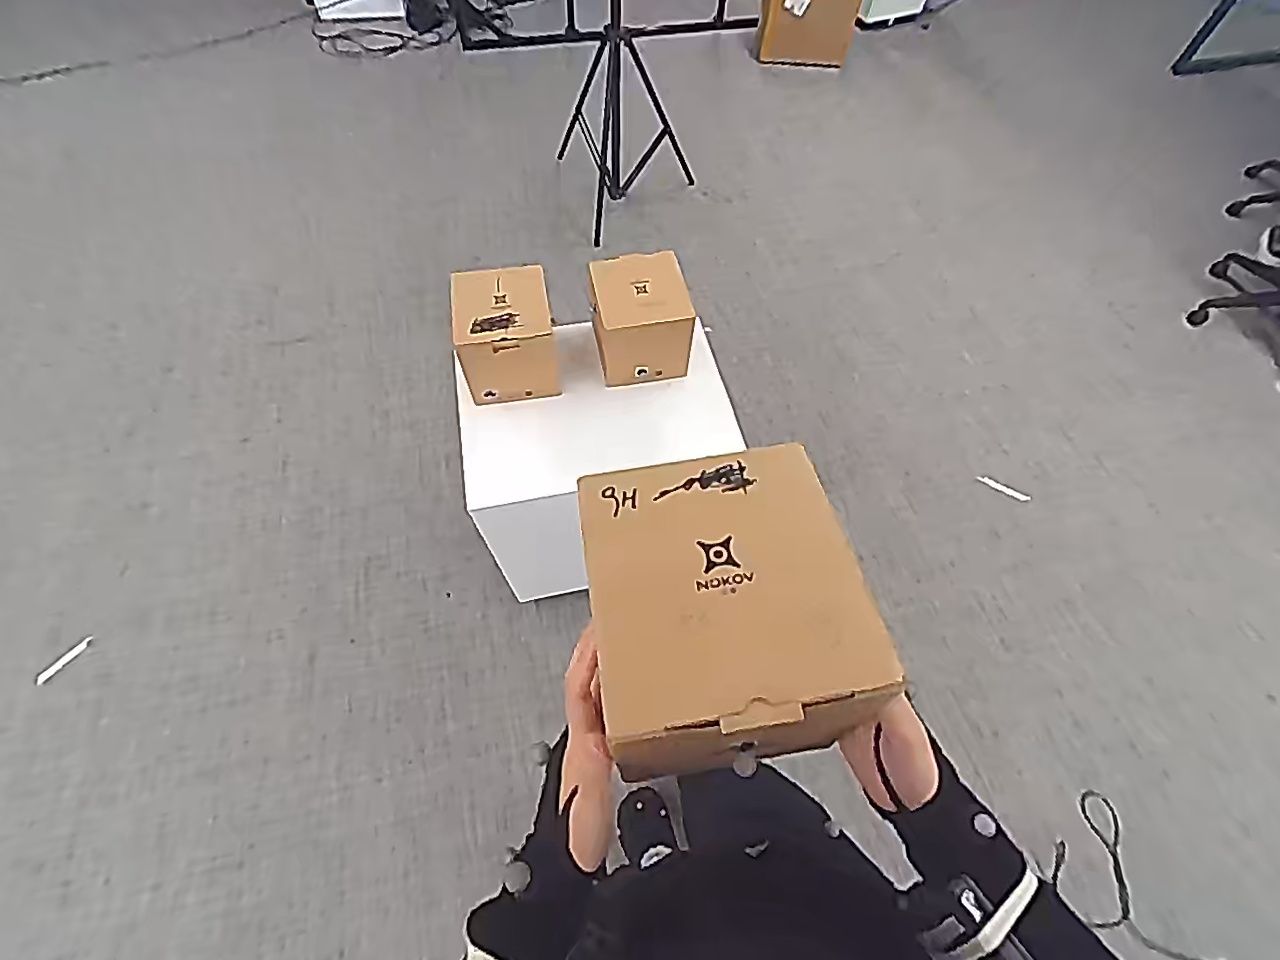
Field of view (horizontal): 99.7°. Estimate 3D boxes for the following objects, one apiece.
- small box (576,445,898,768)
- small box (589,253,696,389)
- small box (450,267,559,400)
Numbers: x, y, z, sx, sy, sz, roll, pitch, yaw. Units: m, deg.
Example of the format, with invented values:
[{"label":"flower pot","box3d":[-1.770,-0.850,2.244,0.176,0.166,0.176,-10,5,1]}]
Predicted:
[{"label":"small box","box3d":[0.051,0.102,0.399,0.168,0.176,0.179,-8,55,-4]},{"label":"small box","box3d":[-0.001,-0.301,1.038,0.168,0.176,0.179,-11,64,-7]},{"label":"small box","box3d":[-0.246,-0.263,1.004,0.168,0.176,0.179,-9,62,-8]}]
